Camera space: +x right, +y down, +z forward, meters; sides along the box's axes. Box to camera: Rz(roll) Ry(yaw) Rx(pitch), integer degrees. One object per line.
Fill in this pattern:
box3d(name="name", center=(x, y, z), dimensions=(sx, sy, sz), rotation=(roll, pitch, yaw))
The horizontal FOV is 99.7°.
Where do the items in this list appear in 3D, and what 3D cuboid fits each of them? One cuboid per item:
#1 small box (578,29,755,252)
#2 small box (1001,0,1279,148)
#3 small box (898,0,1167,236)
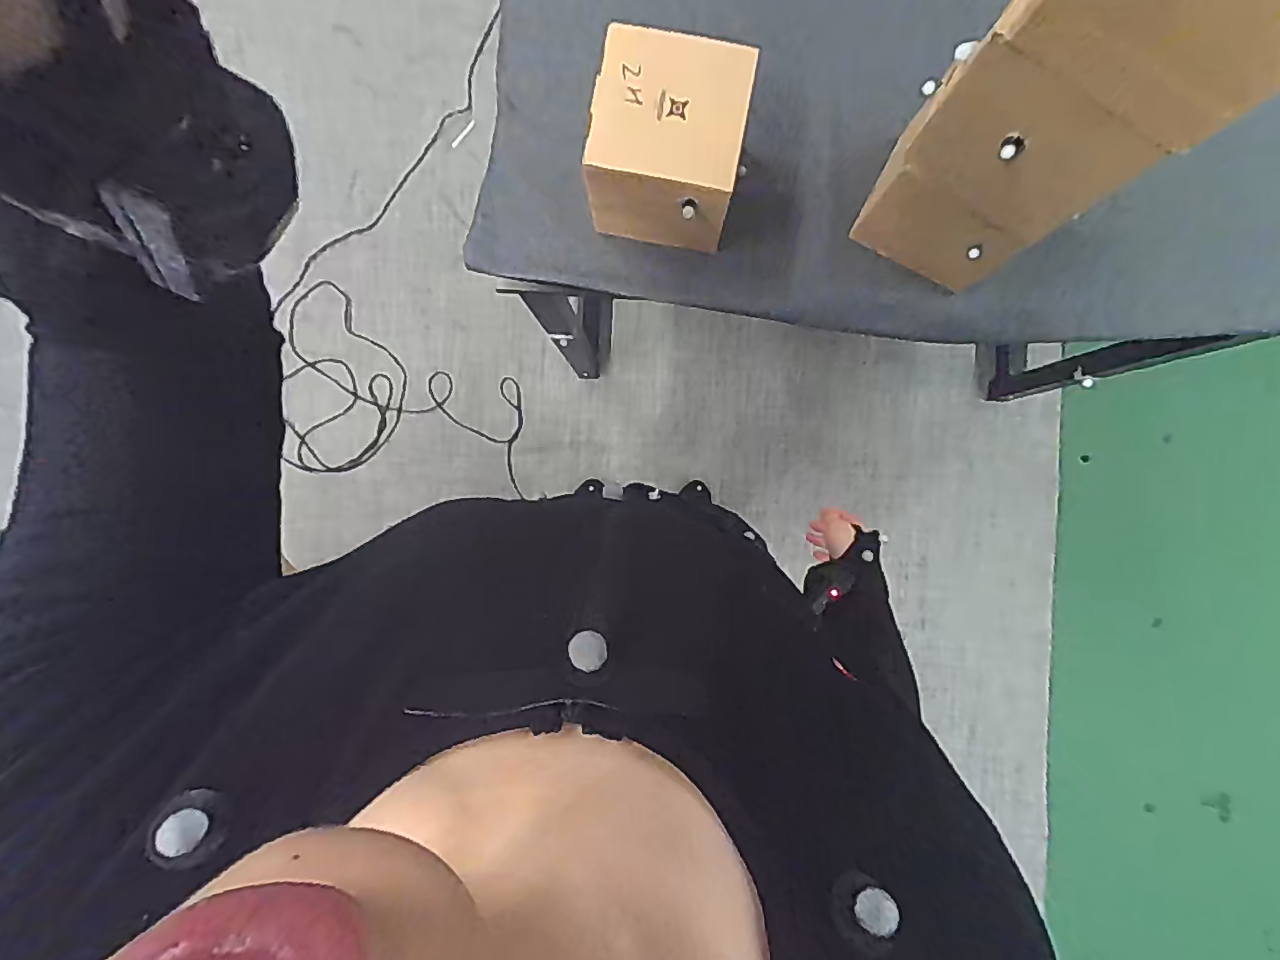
box3d(name="small box", center=(0.032, -0.413, 0.689), dimensions=(0.179, 0.176, 0.168), rotation=(11, 90, 1))
box3d(name="small box", center=(0.394, -0.369, 0.355), dimensions=(0.179, 0.176, 0.168), rotation=(36, 89, 1))
box3d(name="small box", center=(0.395, -0.368, 0.517), dimensions=(0.179, 0.176, 0.168), rotation=(36, 89, 2))
